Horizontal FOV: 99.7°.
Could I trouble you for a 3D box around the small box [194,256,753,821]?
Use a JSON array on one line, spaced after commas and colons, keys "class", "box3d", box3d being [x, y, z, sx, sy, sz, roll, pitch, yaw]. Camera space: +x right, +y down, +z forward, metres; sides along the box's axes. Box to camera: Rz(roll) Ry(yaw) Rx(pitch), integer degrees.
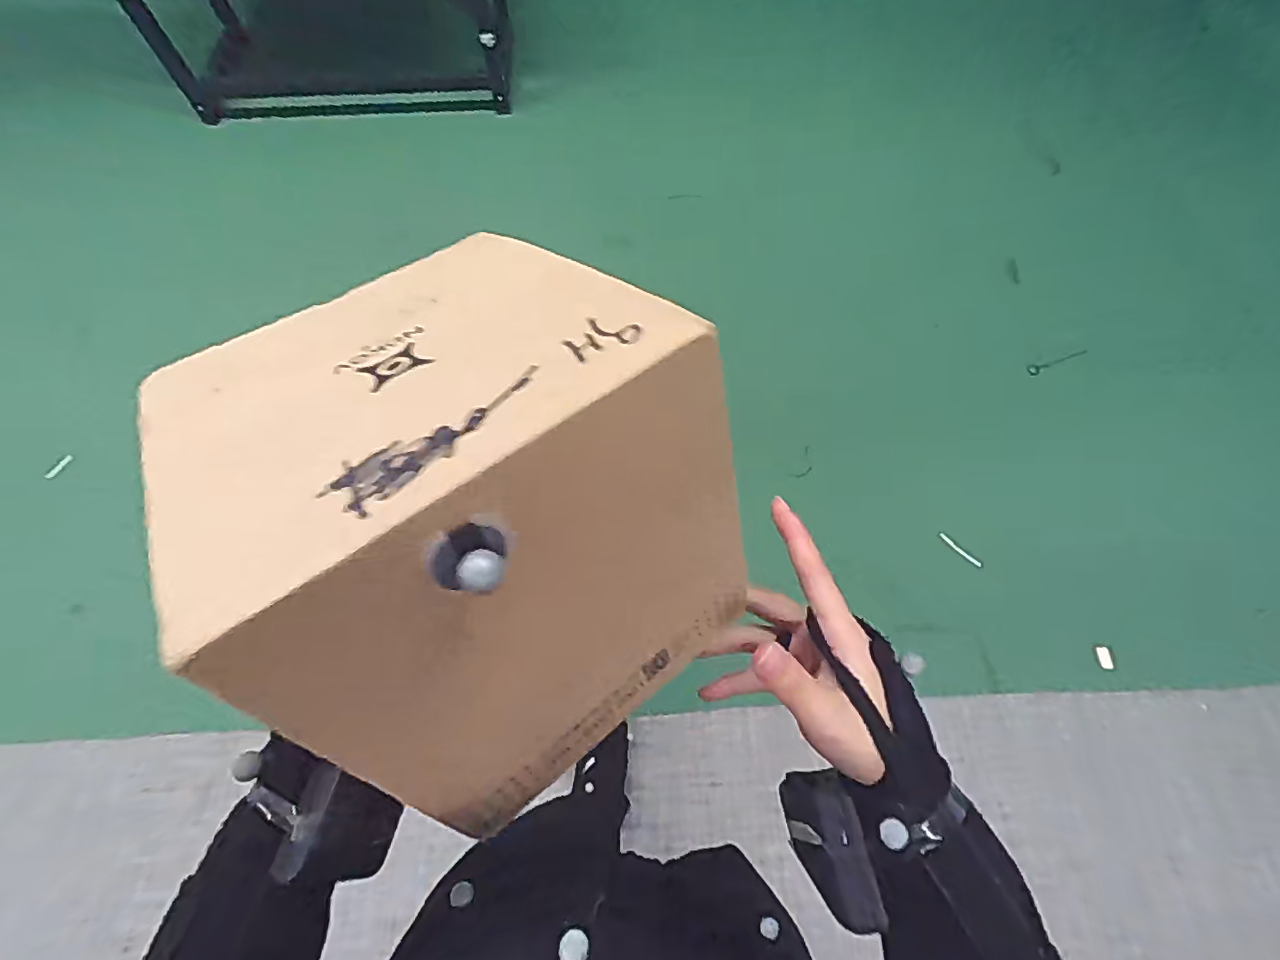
[{"class": "small box", "box3d": [-0.066, 0.019, 0.262, 0.168, 0.176, 0.179, -36, 46, -19]}]
